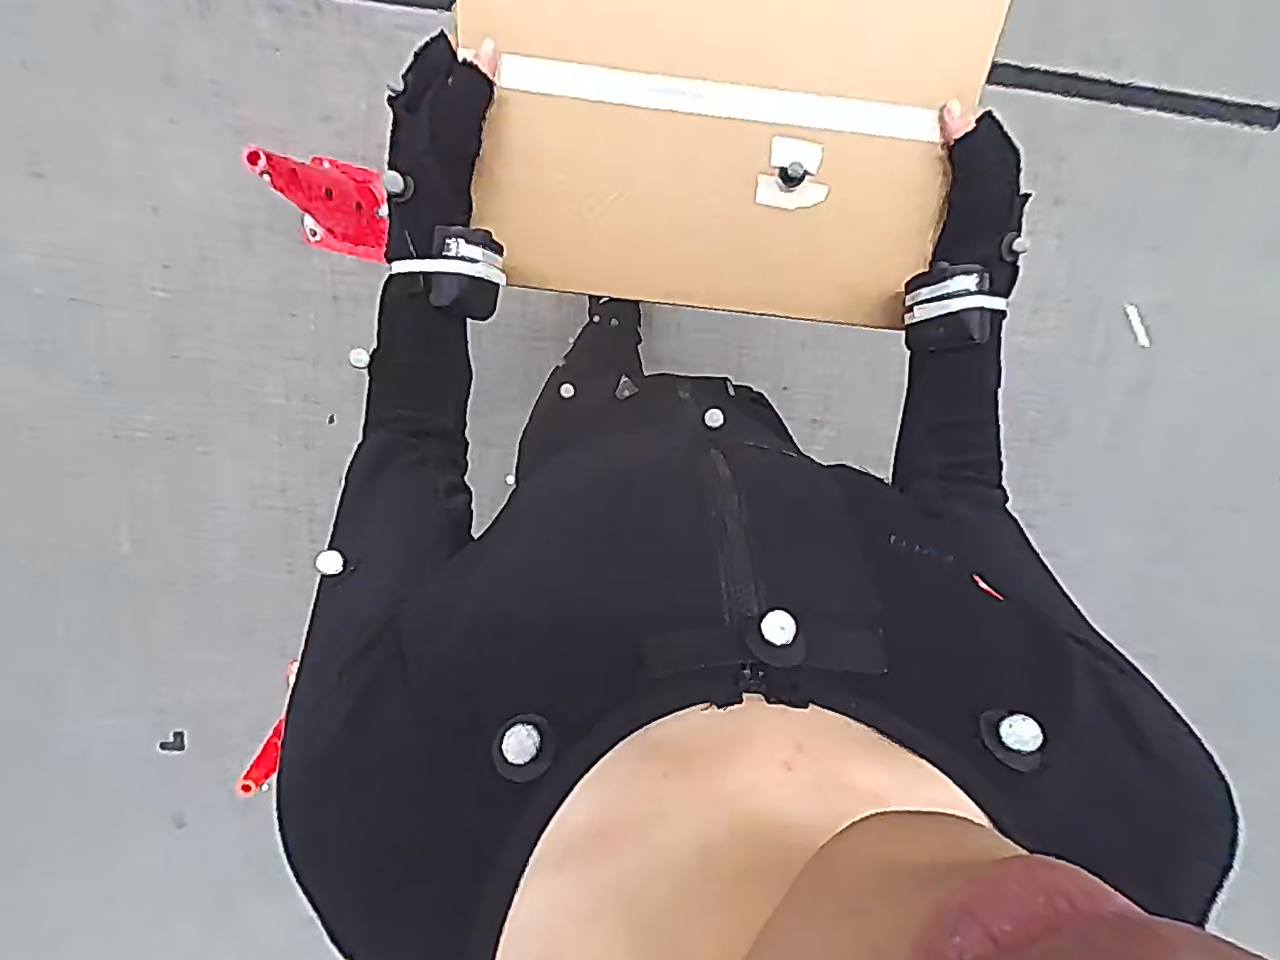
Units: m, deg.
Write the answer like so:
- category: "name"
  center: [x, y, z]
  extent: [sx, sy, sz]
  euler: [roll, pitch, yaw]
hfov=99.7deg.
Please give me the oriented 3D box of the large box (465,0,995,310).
- category: "large box"
  center: [0.059, -0.370, 0.564]
  extent: [0.408, 0.320, 0.320]
  euler: [5, 115, -4]

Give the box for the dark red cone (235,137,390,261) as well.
- category: "dark red cone"
  center: [-0.672, -0.589, 1.086]
  extent: [0.201, 0.394, 0.202]
  euler: [11, 102, -7]
